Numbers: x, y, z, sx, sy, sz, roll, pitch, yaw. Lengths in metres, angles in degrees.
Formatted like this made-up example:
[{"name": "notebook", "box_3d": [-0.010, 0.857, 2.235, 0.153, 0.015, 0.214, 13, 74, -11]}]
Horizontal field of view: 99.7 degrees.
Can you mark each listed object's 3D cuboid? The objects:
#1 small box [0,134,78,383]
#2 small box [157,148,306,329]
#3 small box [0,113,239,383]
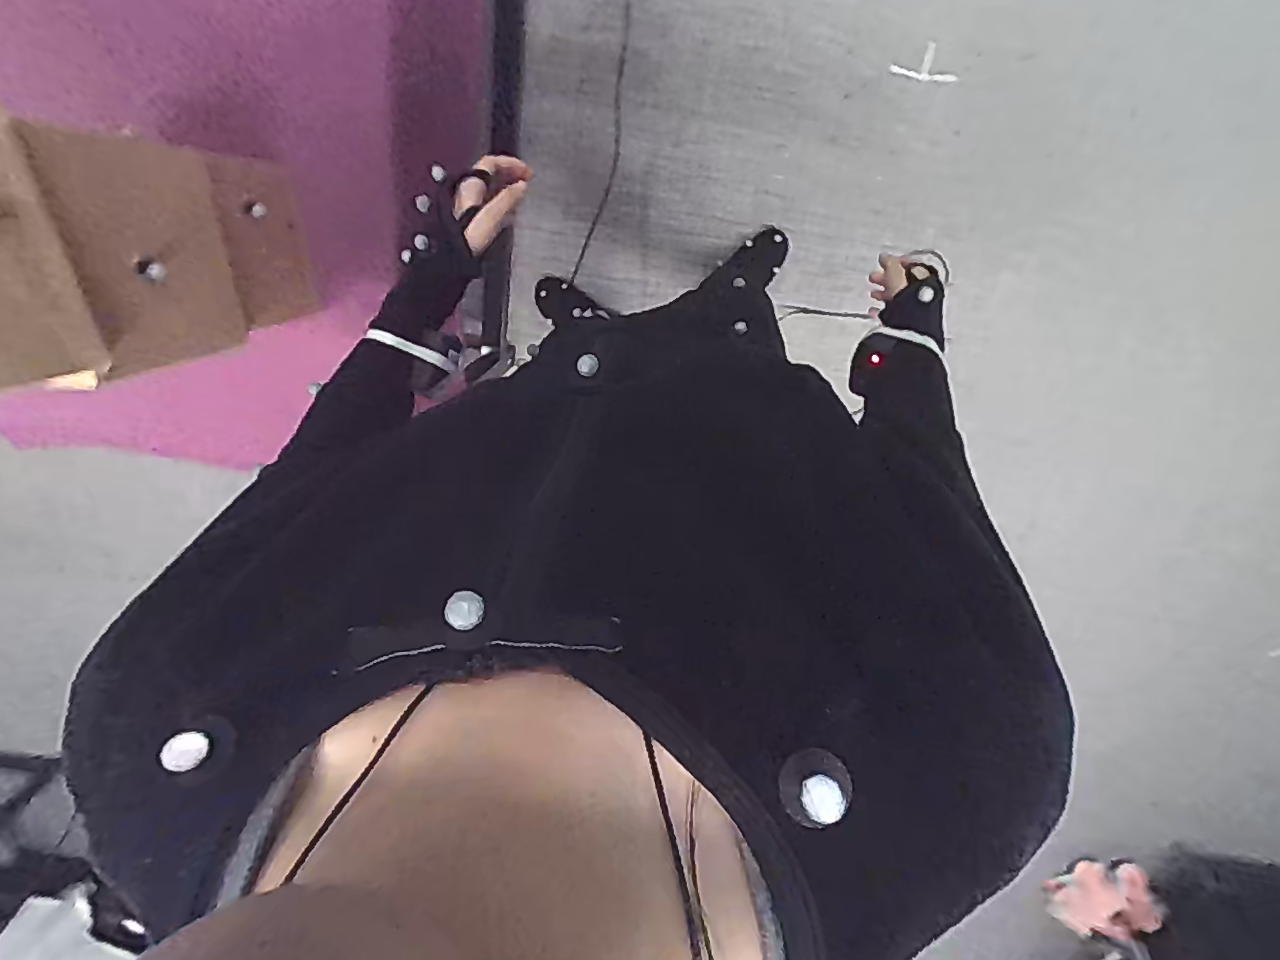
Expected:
[{"name": "small box", "box_3d": [-0.483, -0.127, 0.297, 0.179, 0.176, 0.168, 0, 115, 4]}, {"name": "small box", "box_3d": [-0.502, -0.265, 0.594, 0.179, 0.176, 0.168, 4, 115, 3]}, {"name": "small box", "box_3d": [-0.486, -0.190, 0.447, 0.168, 0.176, 0.179, 3, 116, 2]}]
